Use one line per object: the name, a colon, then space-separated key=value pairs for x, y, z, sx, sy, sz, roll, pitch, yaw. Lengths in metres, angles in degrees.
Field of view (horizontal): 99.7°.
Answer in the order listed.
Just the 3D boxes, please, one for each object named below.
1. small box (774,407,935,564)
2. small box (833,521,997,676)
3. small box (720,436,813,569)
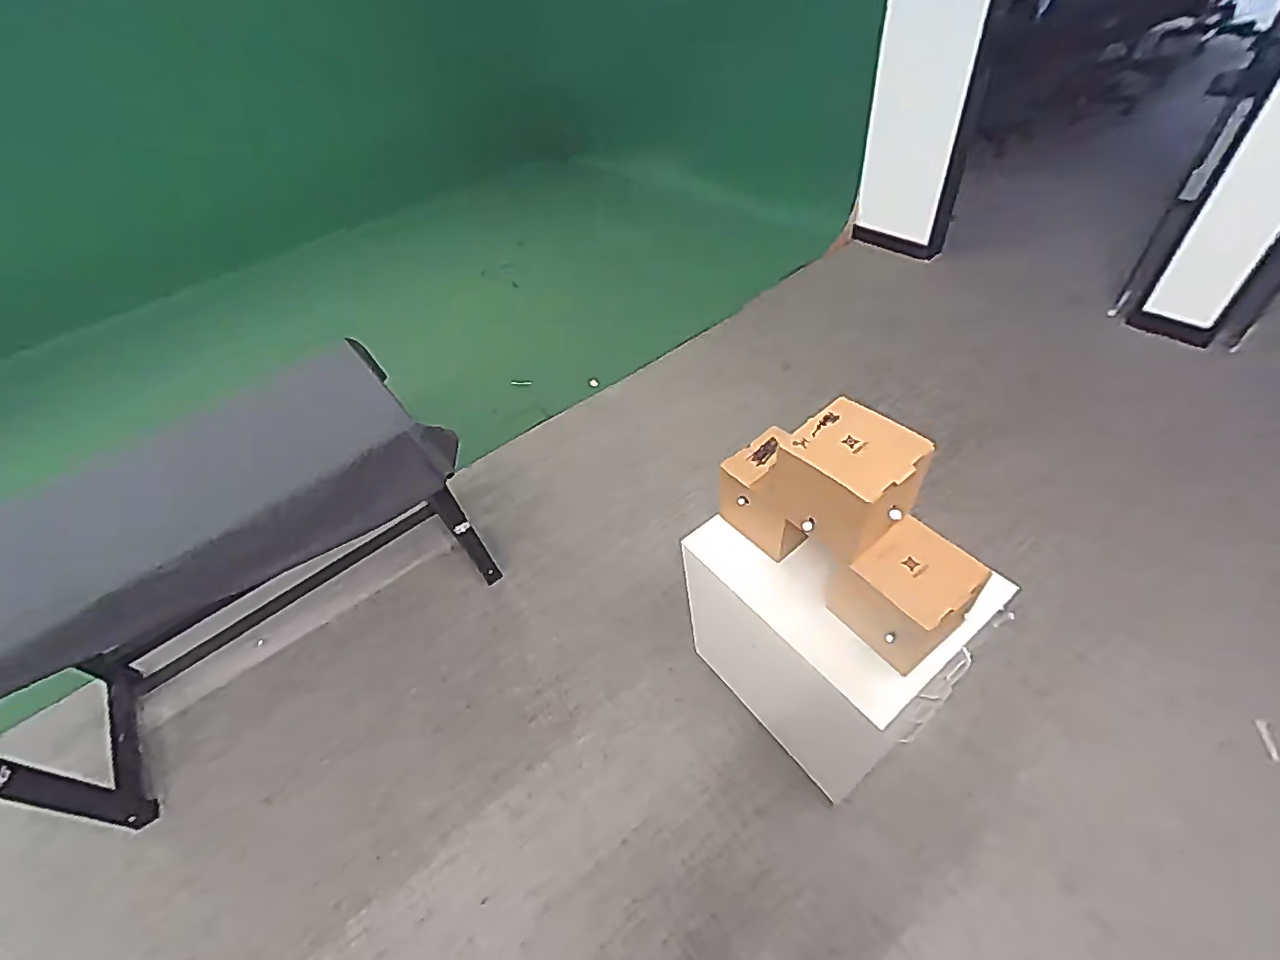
small box: x=0.346 y=0.016 z=0.902 sx=0.168 sy=0.176 sz=0.179 roll=-35 pitch=52 yaw=-21
small box: x=0.457 y=0.208 z=0.926 sx=0.168 sy=0.176 sz=0.179 roll=-32 pitch=47 yaw=-19
small box: x=0.283 y=0.048 z=1.108 sx=0.168 sy=0.176 sz=0.179 roll=-35 pitch=52 yaw=-20
